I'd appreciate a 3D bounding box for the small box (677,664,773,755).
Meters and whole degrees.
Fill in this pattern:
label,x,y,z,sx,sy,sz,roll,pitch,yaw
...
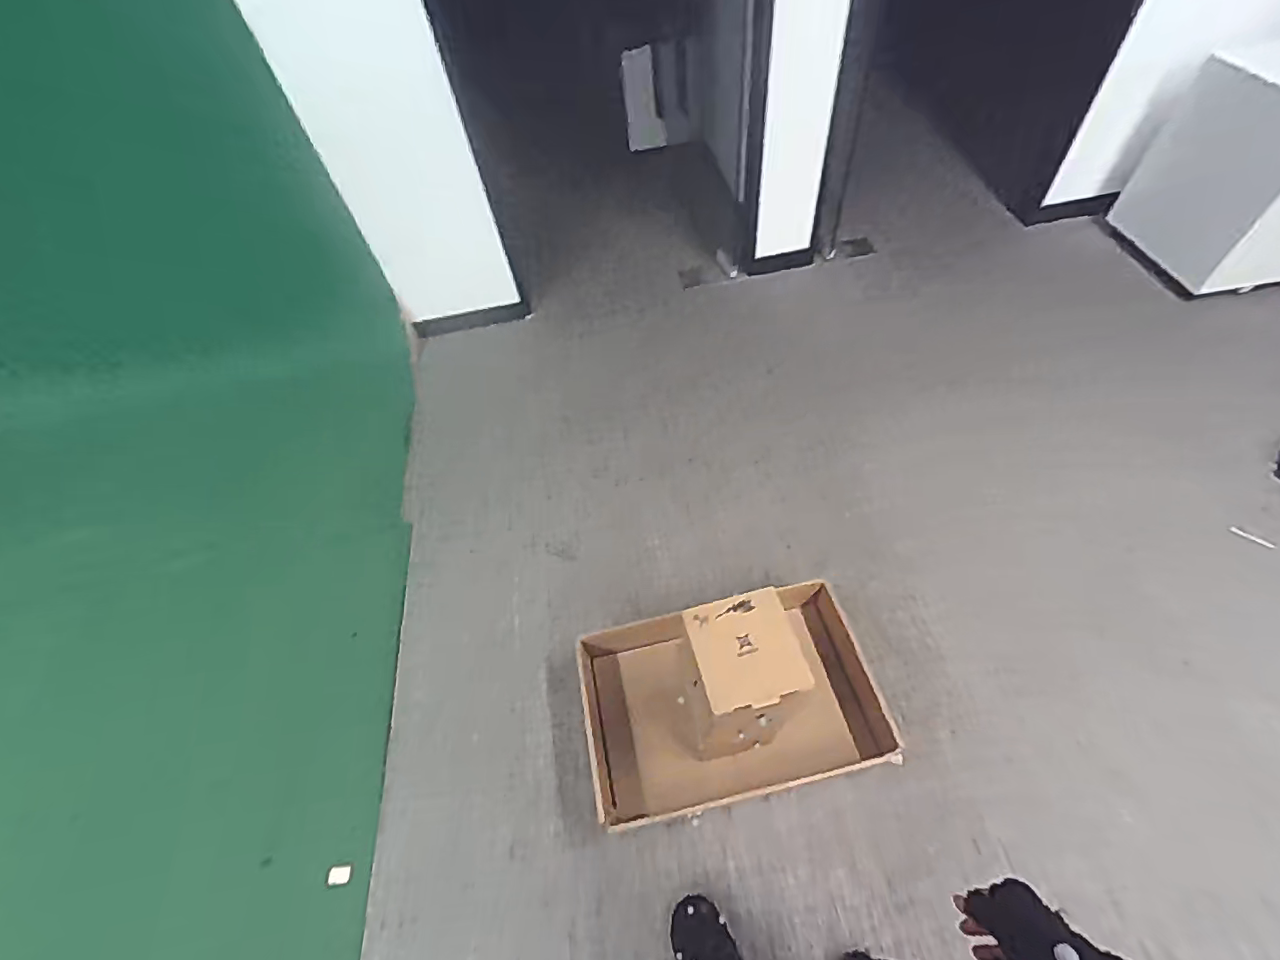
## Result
label,x,y,z,sx,sy,sz,roll,pitch,yaw
small box,0.186,0.499,1.209,0.168,0.176,0.179,-13,53,-3

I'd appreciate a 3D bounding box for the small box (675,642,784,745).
label,x,y,z,sx,sy,sz,roll,pitch,yaw
small box,0.174,0.417,1.087,0.179,0.176,0.168,-12,53,-2

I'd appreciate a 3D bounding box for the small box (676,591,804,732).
label,x,y,z,sx,sy,sz,roll,pitch,yaw
small box,0.170,0.327,0.953,0.168,0.176,0.179,-16,54,-4
